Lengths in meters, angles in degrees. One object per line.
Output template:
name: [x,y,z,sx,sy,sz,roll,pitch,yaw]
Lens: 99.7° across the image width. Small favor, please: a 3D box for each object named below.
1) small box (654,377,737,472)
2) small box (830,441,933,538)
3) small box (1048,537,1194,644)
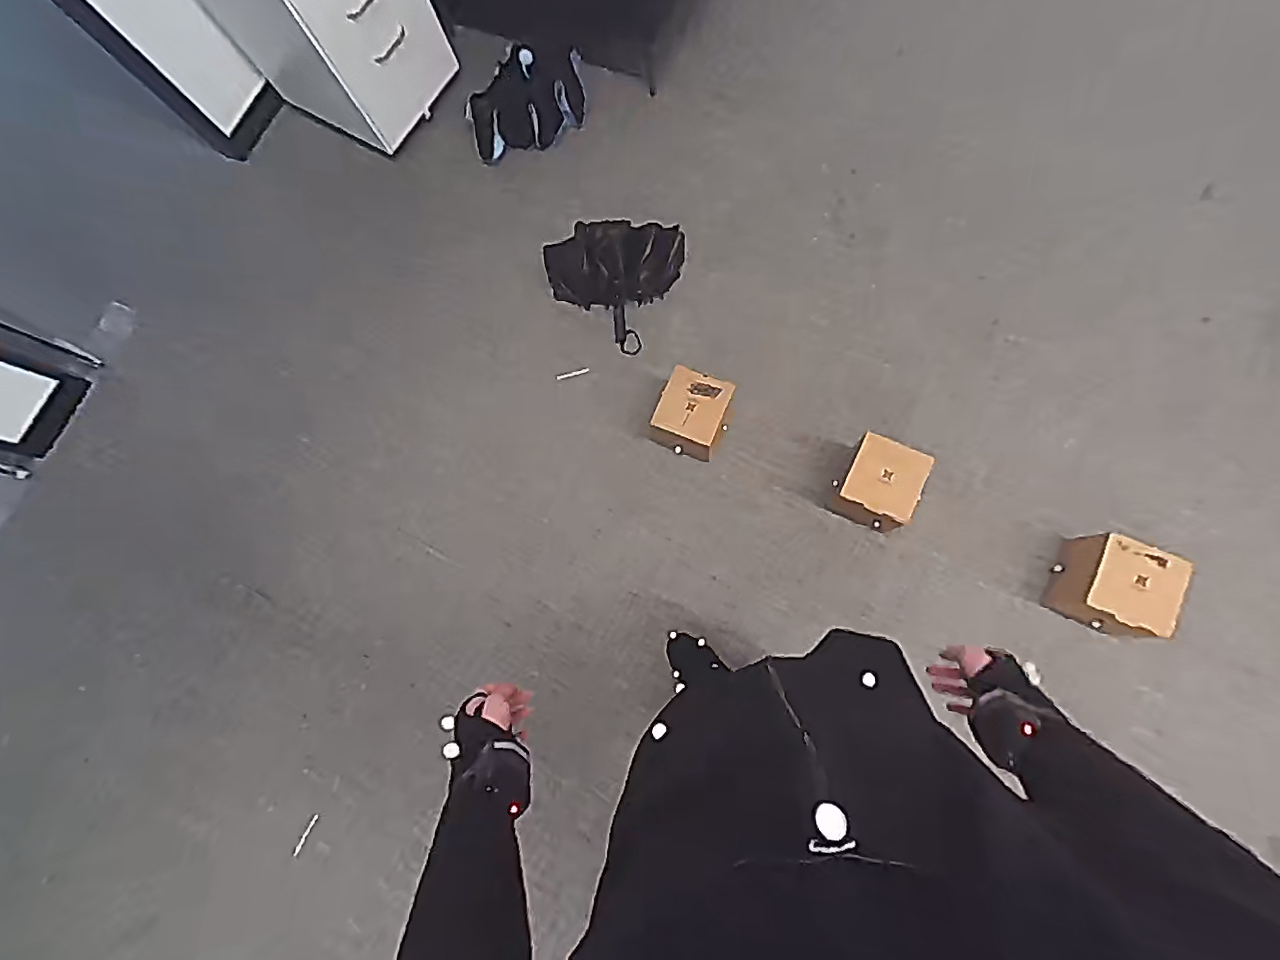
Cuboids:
small box: [0.151,-0.144,1.451,0.168,0.176,0.179,21,81,13]
small box: [0.593,0.032,1.353,0.168,0.176,0.179,24,79,11]
small box: [1.079,0.252,1.230,0.168,0.176,0.179,25,81,13]
